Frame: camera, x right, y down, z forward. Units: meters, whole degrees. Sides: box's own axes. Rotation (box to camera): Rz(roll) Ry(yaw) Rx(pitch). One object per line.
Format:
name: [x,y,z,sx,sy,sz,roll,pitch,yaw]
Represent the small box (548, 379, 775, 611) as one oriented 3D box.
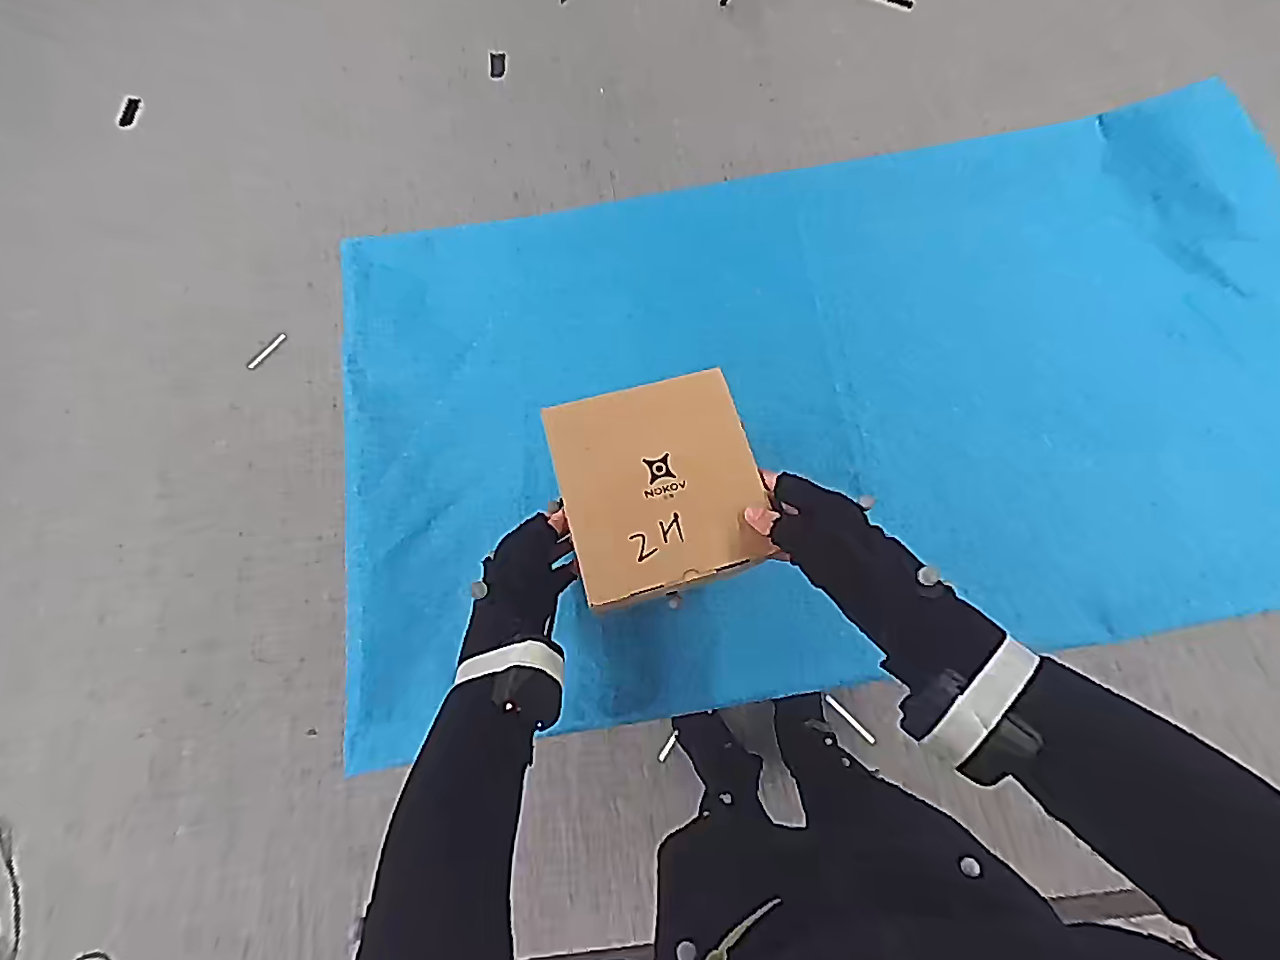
small box: [0.010,0.025,0.531,0.168,0.176,0.179,-11,77,-6]
